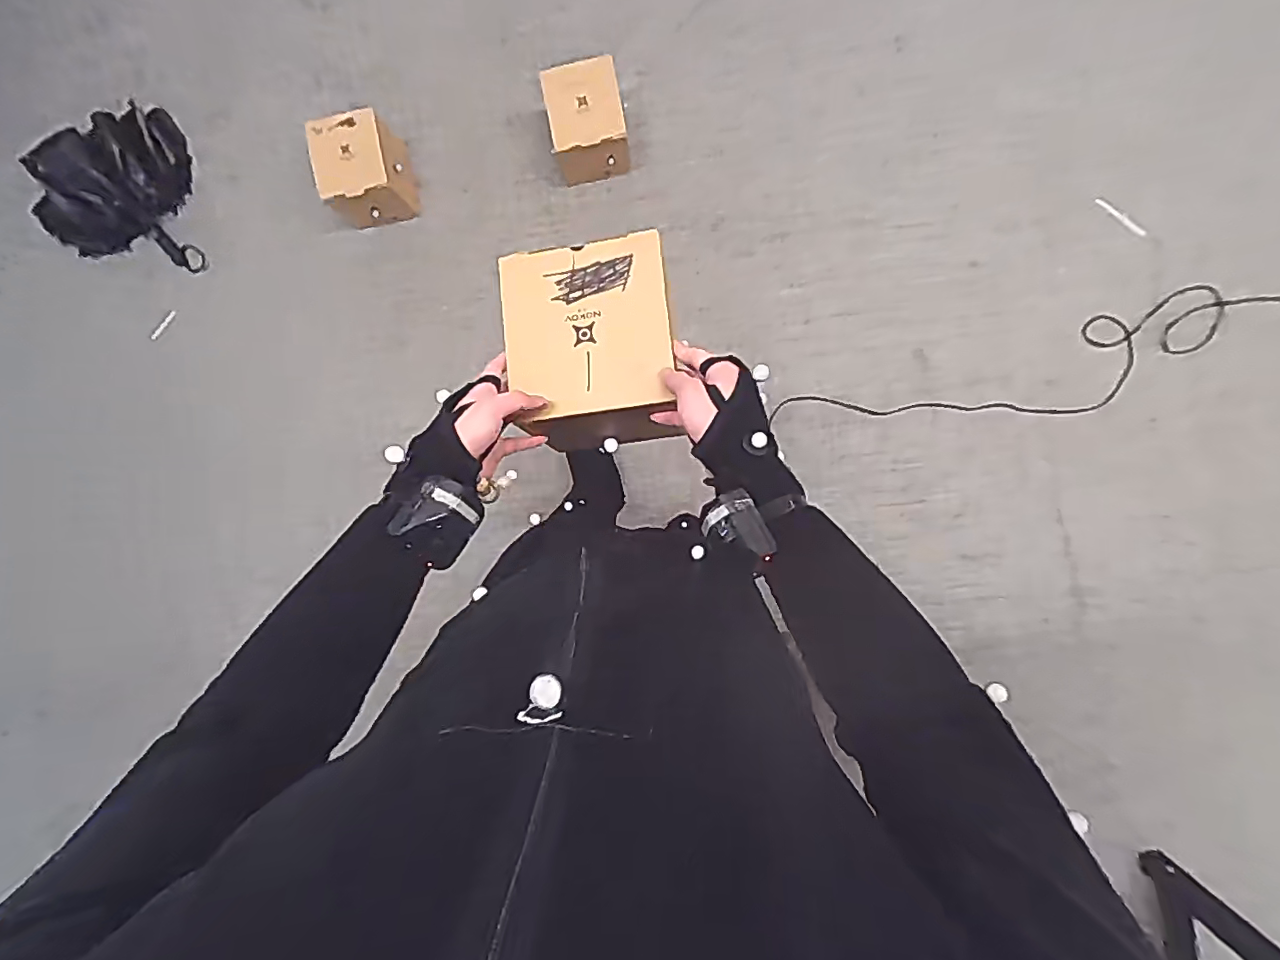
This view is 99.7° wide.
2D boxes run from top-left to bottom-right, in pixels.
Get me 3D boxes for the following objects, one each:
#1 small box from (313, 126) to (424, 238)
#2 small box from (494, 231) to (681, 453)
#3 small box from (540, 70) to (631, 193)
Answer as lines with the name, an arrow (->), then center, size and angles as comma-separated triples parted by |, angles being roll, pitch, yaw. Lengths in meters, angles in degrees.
small box -> -0.653, -0.715, 1.322 | 0.168, 0.176, 0.179 | -11, 93, 4
small box -> -0.049, -0.139, 0.604 | 0.168, 0.176, 0.179 | -8, 81, 8
small box -> -0.121, -0.808, 1.279 | 0.168, 0.176, 0.179 | -13, 90, 4
